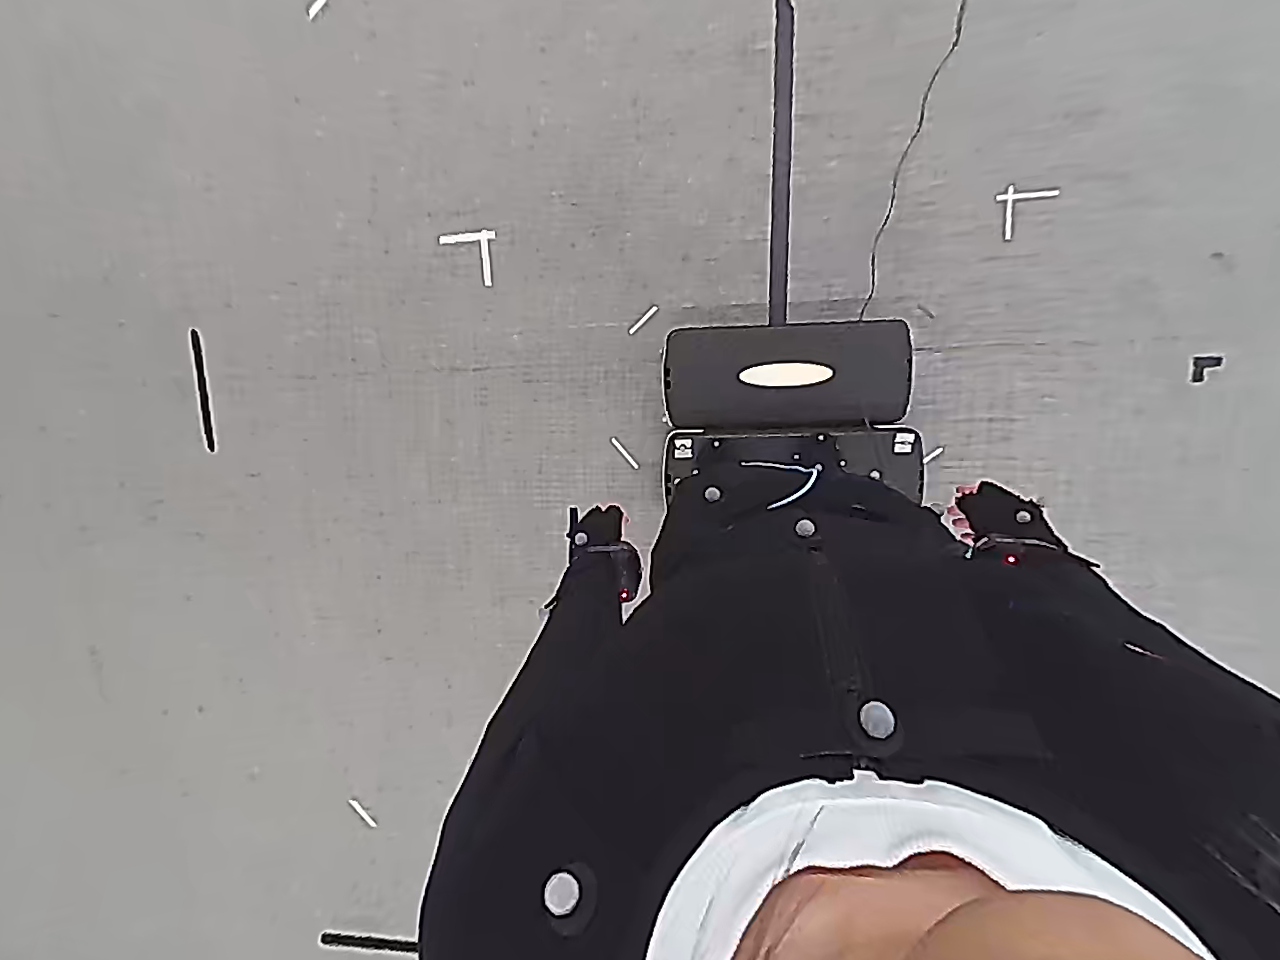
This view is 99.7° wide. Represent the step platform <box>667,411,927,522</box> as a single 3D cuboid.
[{"bbox_3d":[0.417,-0.036,1.507,0.684,0.204,0.286,-2,97,7],"label":"step platform"}]
